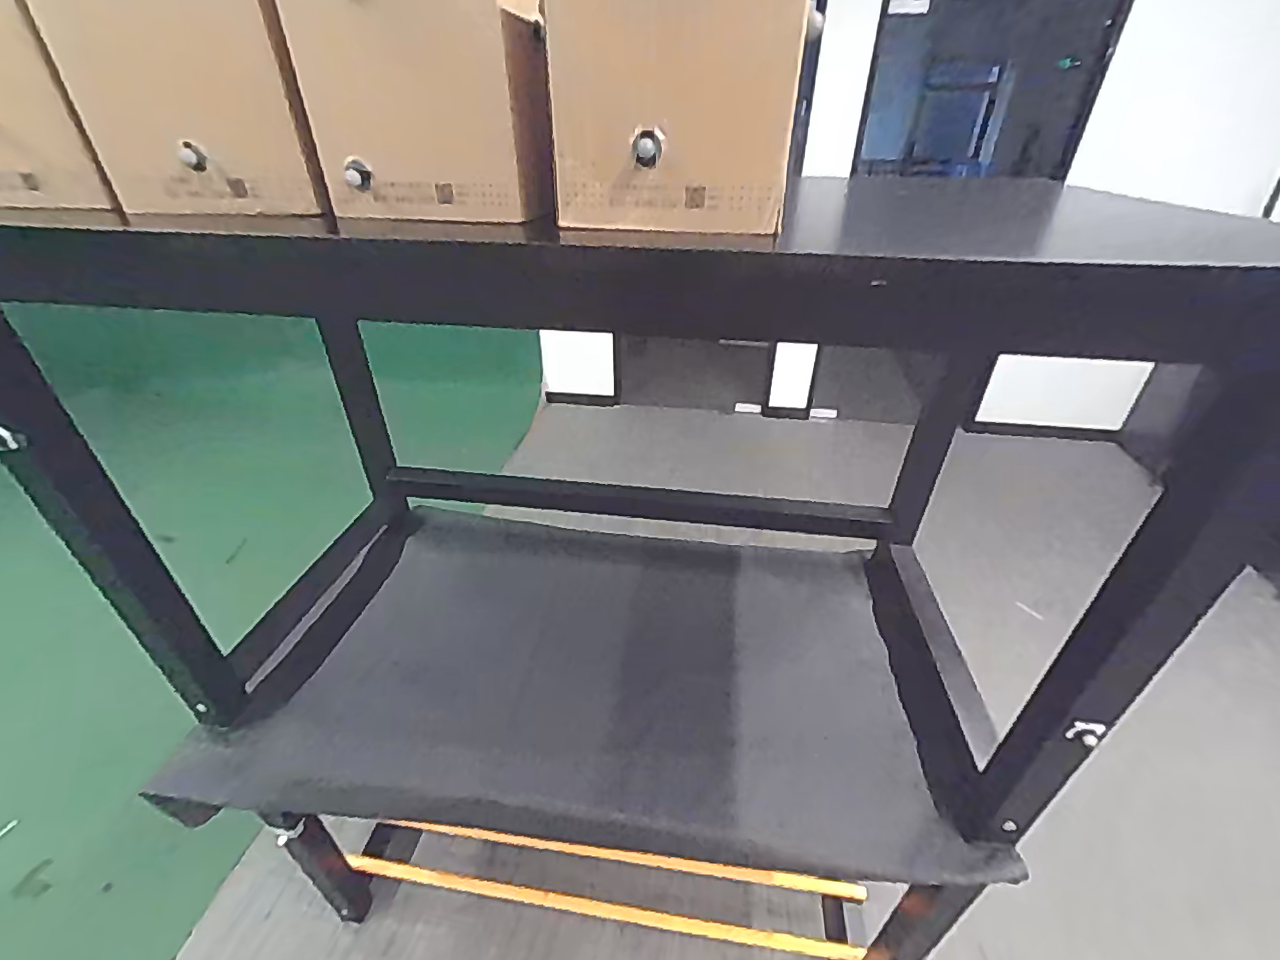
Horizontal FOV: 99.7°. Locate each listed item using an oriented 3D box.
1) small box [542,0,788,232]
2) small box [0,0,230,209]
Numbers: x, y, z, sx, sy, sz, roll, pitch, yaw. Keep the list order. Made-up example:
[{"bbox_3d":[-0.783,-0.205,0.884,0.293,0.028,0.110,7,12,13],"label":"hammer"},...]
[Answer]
[{"bbox_3d":[0.023,-0.310,0.441,0.168,0.176,0.179,5,34,7],"label":"small box"},{"bbox_3d":[-0.545,-0.360,0.515,0.168,0.176,0.179,2,32,0],"label":"small box"}]
